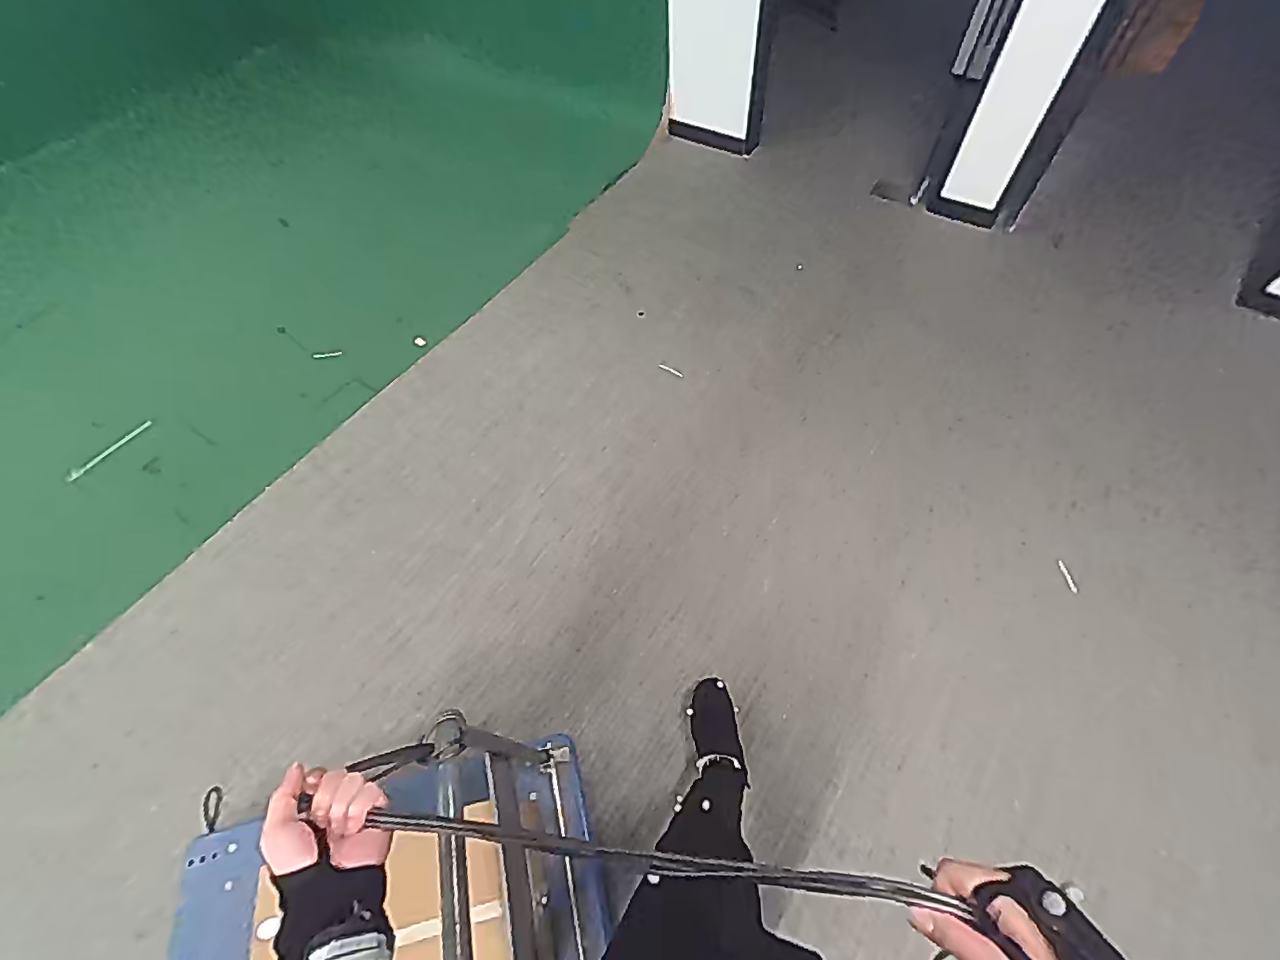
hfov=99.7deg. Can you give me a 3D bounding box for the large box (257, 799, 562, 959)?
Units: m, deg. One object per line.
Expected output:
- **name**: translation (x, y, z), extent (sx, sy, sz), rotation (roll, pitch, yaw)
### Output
- **large box**: translation (-0.387, 0.803, 0.970), extent (0.408, 0.320, 0.320), rotation (-15, 58, -4)
